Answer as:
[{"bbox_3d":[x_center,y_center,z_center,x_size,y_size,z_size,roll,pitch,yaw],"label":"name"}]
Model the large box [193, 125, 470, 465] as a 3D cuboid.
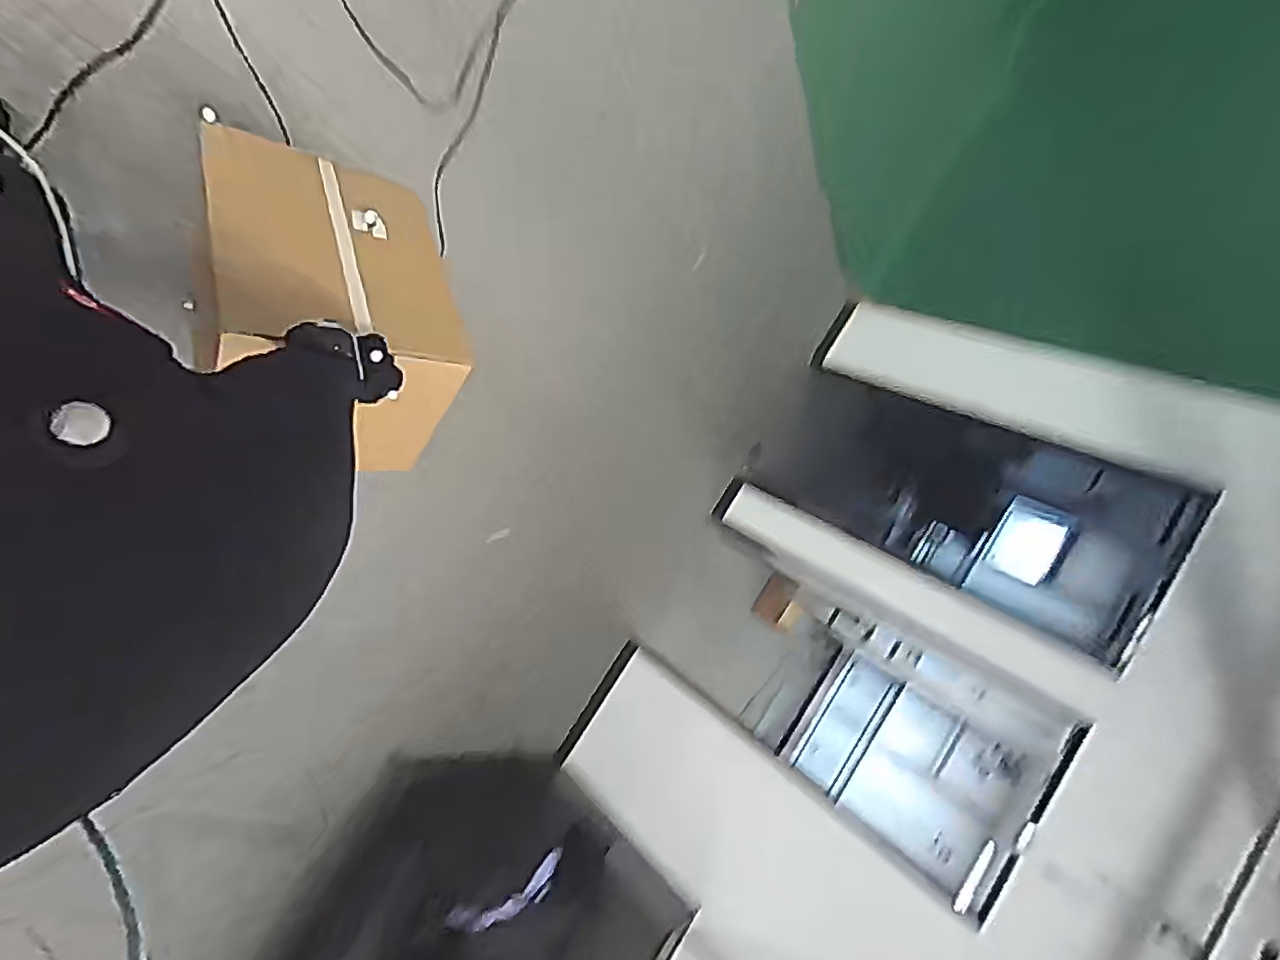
[{"bbox_3d":[-0.533,-0.273,0.906,0.320,0.408,0.320,-2,150,-43],"label":"large box"}]
